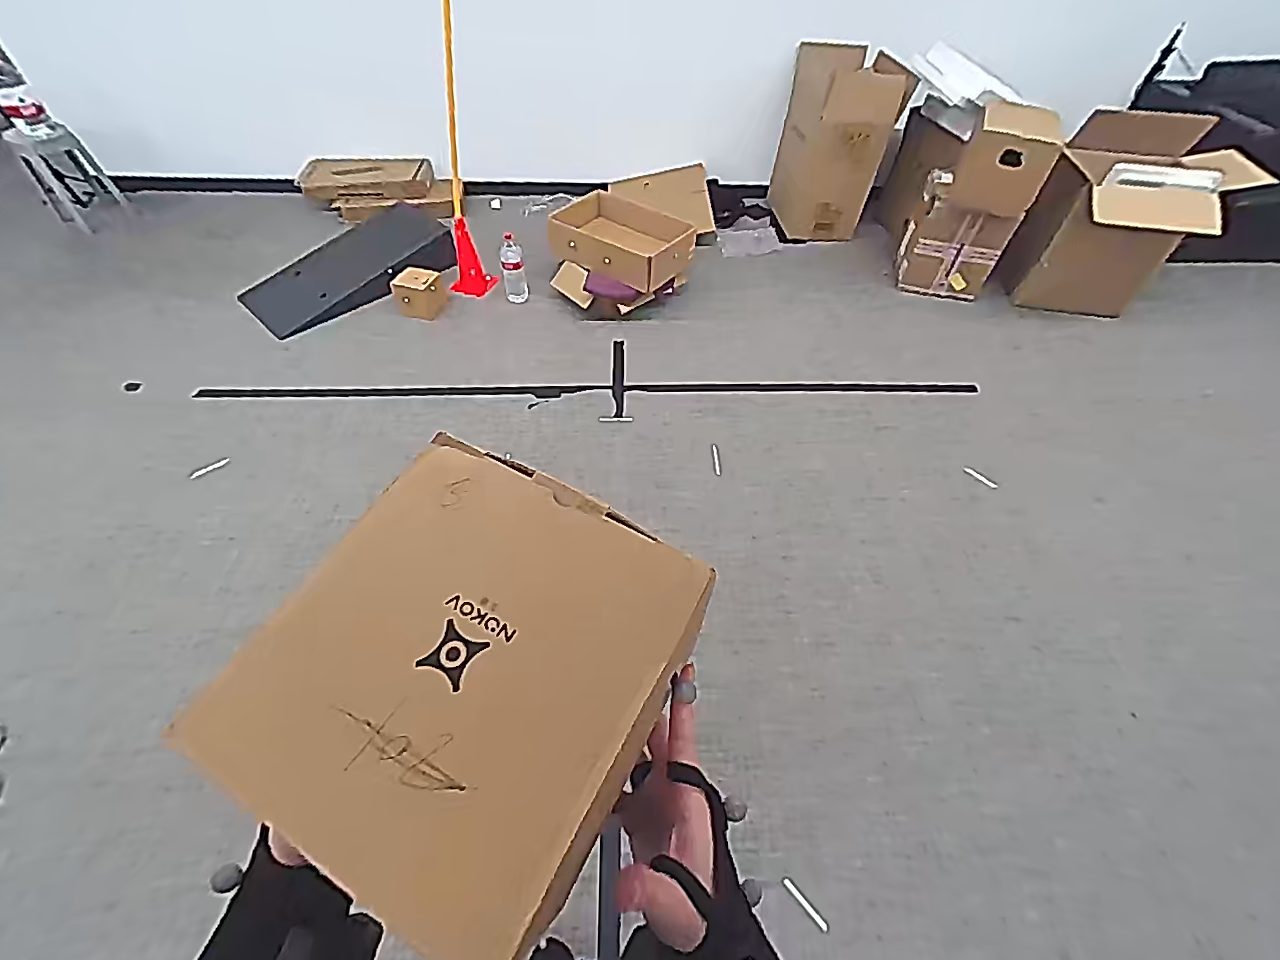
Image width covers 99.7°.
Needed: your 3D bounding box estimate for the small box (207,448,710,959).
[{"bbox_3d":[-0.076,0.119,0.318,0.168,0.176,0.179,25,63,15],"label":"small box"}]
